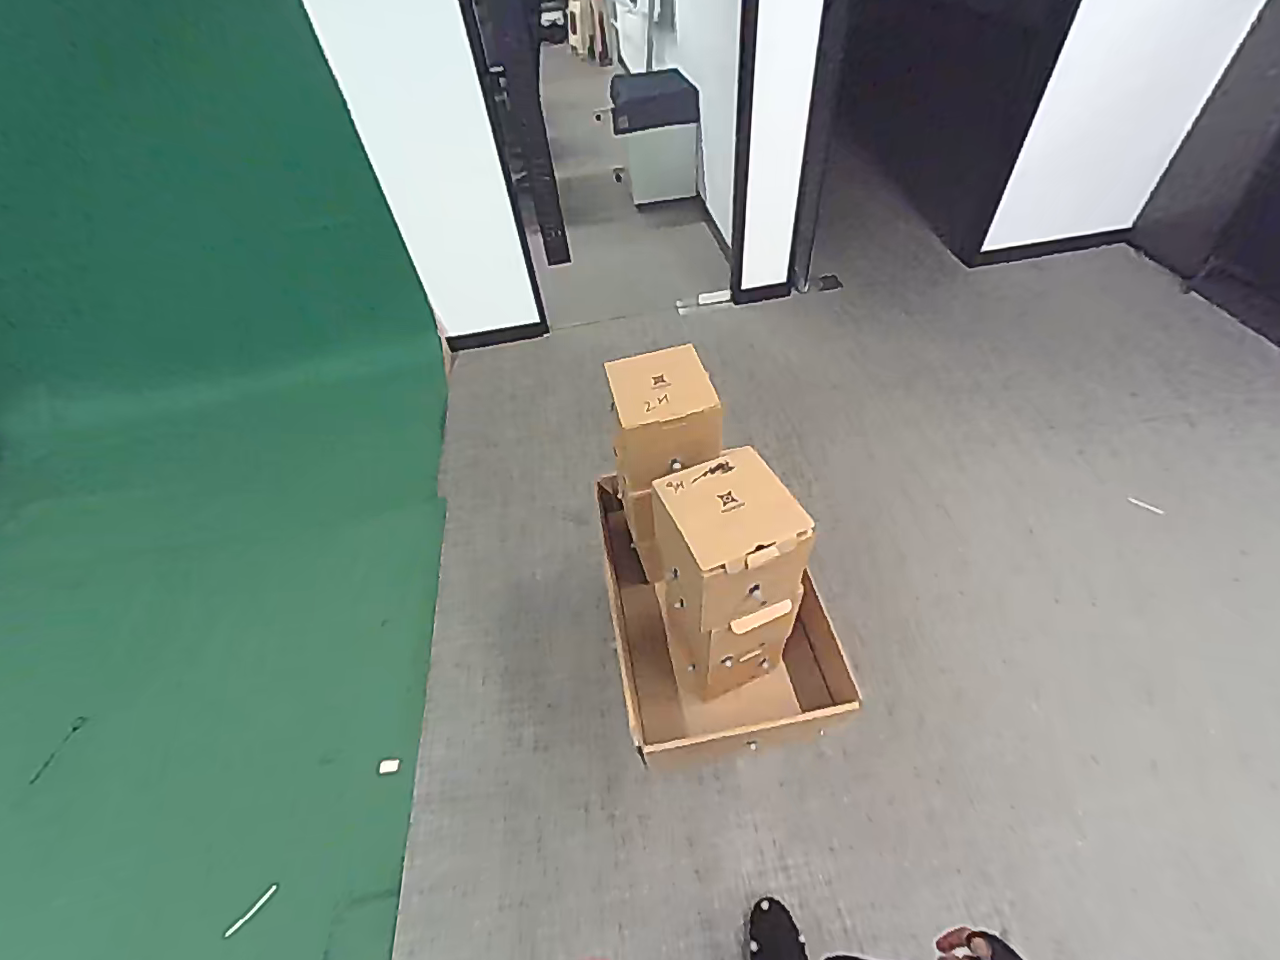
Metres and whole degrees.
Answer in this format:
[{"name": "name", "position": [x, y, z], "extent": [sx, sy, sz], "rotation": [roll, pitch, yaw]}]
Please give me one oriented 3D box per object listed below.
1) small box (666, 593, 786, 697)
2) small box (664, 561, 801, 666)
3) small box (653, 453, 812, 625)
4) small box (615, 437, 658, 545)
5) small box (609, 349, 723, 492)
[{"name": "small box", "position": [0.164, 0.301, 1.059], "extent": [0.168, 0.176, 0.179], "rotation": [-20, 50, -11]}, {"name": "small box", "position": [0.152, 0.197, 0.934], "extent": [0.168, 0.176, 0.179], "rotation": [-20, 50, -12]}, {"name": "small box", "position": [0.129, 0.095, 0.807], "extent": [0.168, 0.176, 0.179], "rotation": [-18, 51, -11]}, {"name": "small box", "position": [0.057, 0.008, 1.103], "extent": [0.179, 0.176, 0.168], "rotation": [-15, 50, -5]}, {"name": "small box", "position": [0.046, -0.106, 0.984], "extent": [0.168, 0.176, 0.179], "rotation": [-13, 51, -3]}]
